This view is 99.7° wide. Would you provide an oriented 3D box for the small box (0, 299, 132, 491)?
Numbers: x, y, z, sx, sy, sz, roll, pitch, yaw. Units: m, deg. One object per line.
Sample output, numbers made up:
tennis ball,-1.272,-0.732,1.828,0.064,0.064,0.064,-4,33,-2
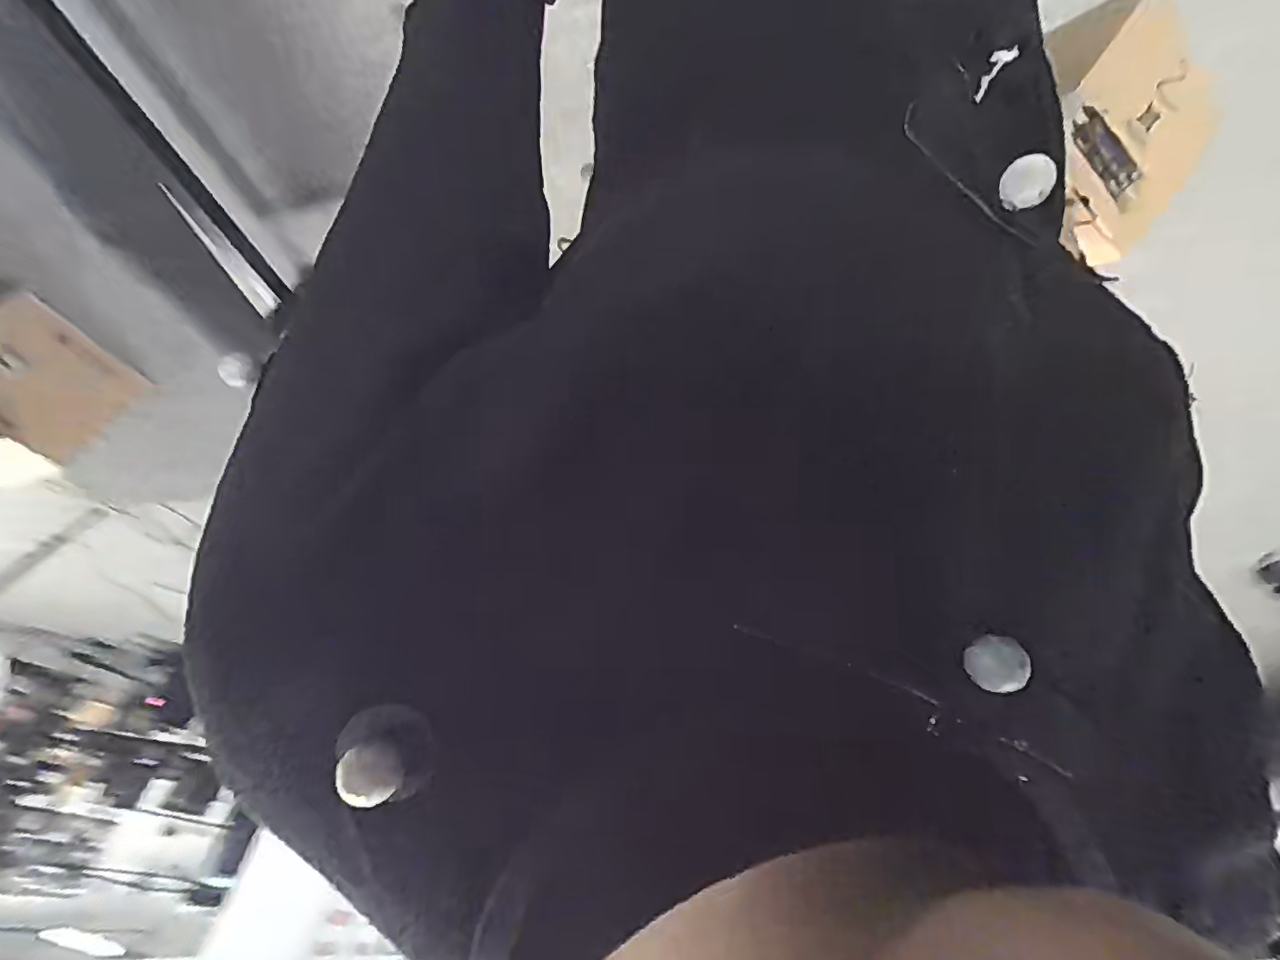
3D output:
small box,-0.825,-0.106,0.695,0.179,0.176,0.168,-8,137,24
